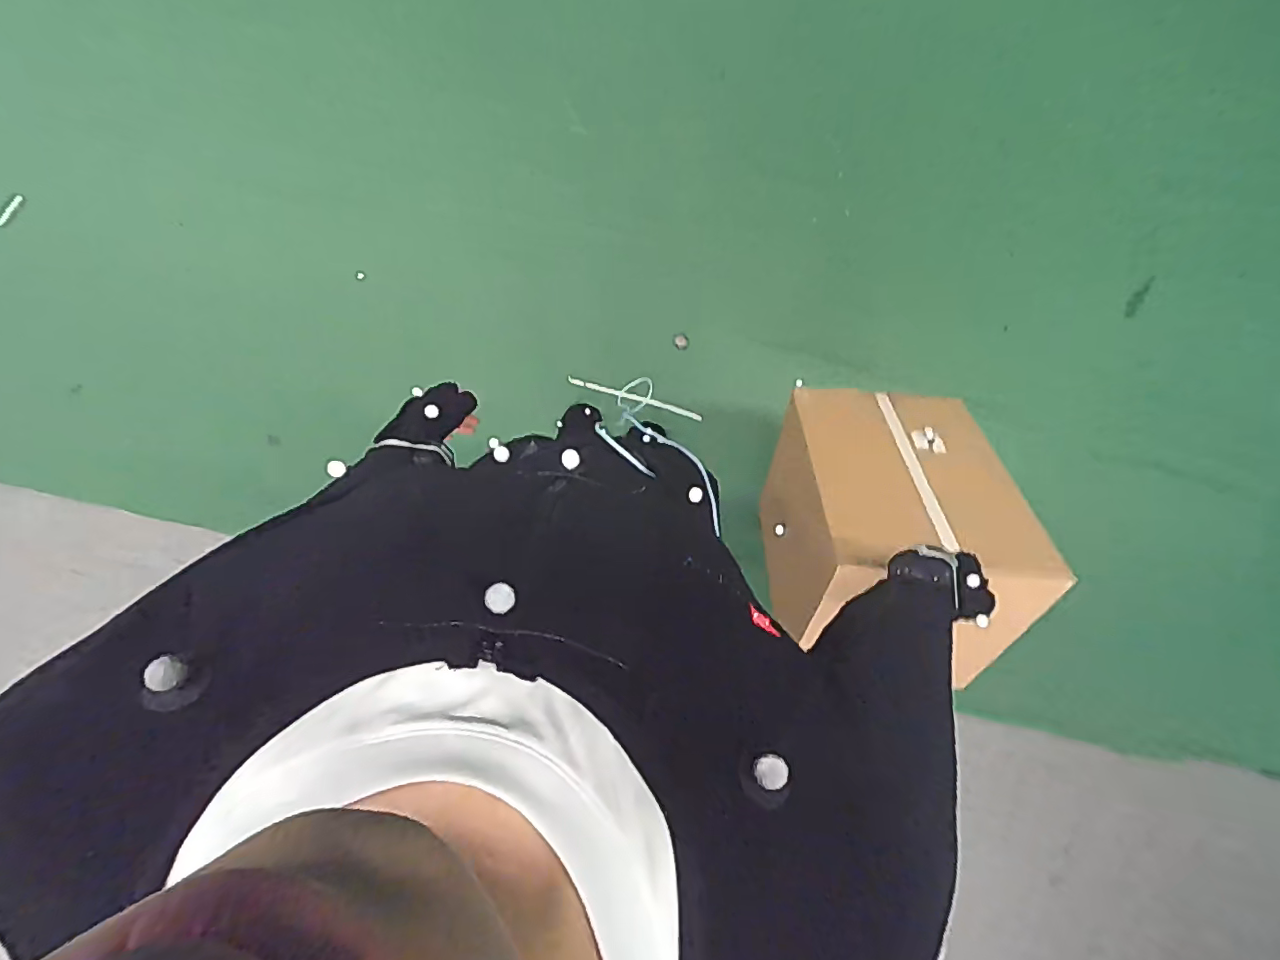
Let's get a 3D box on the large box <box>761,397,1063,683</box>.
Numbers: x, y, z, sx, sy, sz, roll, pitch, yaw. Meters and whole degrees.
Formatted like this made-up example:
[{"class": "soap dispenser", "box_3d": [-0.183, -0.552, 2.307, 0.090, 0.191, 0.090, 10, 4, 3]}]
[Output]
[{"class": "large box", "box_3d": [0.416, 0.100, 0.964, 0.320, 0.408, 0.320, 5, 133, 0]}]
